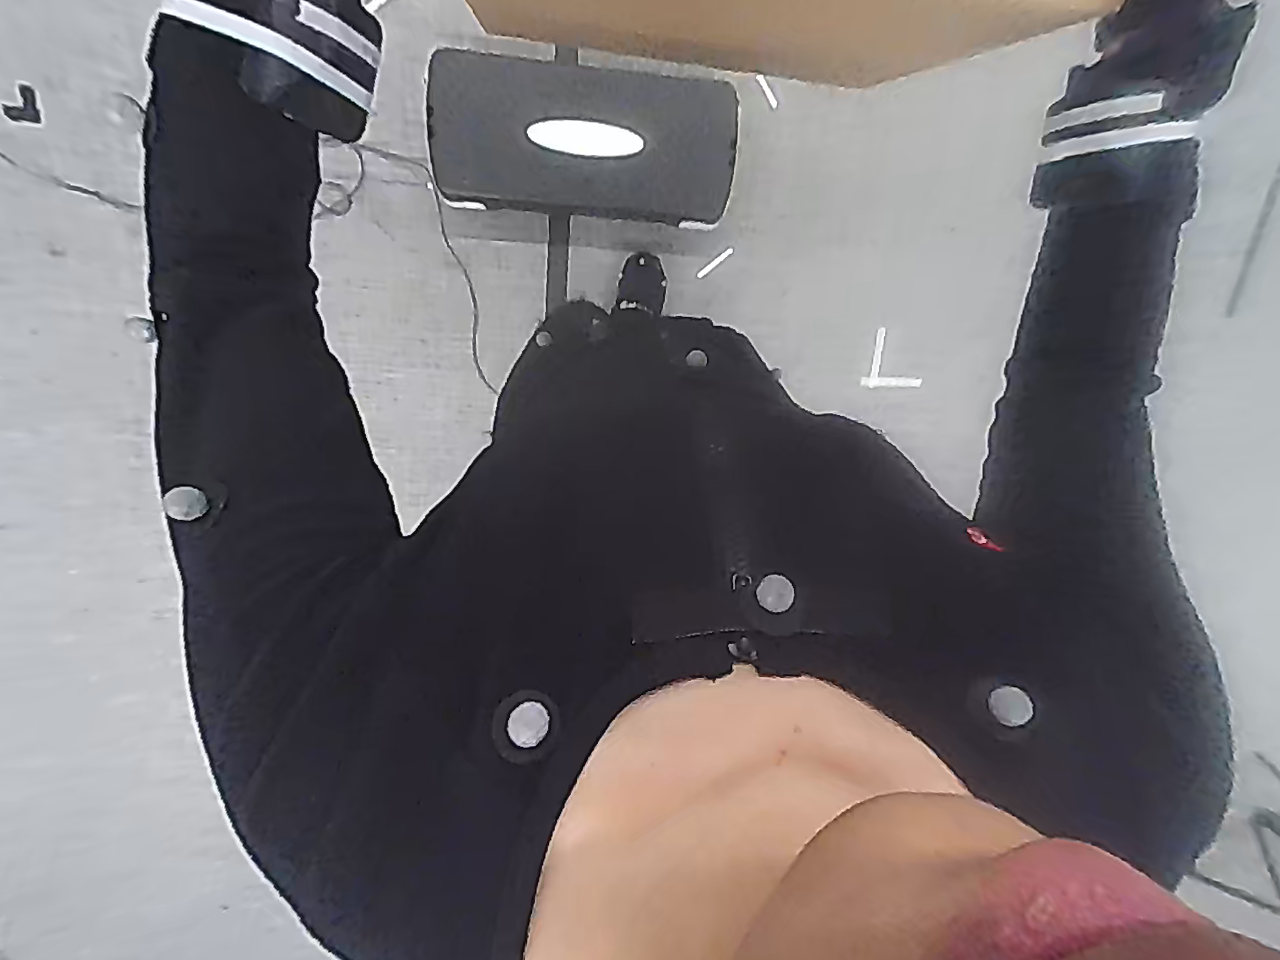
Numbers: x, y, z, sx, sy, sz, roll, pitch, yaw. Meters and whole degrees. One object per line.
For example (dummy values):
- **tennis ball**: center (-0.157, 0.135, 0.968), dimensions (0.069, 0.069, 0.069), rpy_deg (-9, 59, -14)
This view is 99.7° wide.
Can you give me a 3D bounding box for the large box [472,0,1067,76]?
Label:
- **large box**: center (0.072, -0.496, 0.355), dimensions (0.408, 0.320, 0.320), rpy_deg (1, 120, -8)
